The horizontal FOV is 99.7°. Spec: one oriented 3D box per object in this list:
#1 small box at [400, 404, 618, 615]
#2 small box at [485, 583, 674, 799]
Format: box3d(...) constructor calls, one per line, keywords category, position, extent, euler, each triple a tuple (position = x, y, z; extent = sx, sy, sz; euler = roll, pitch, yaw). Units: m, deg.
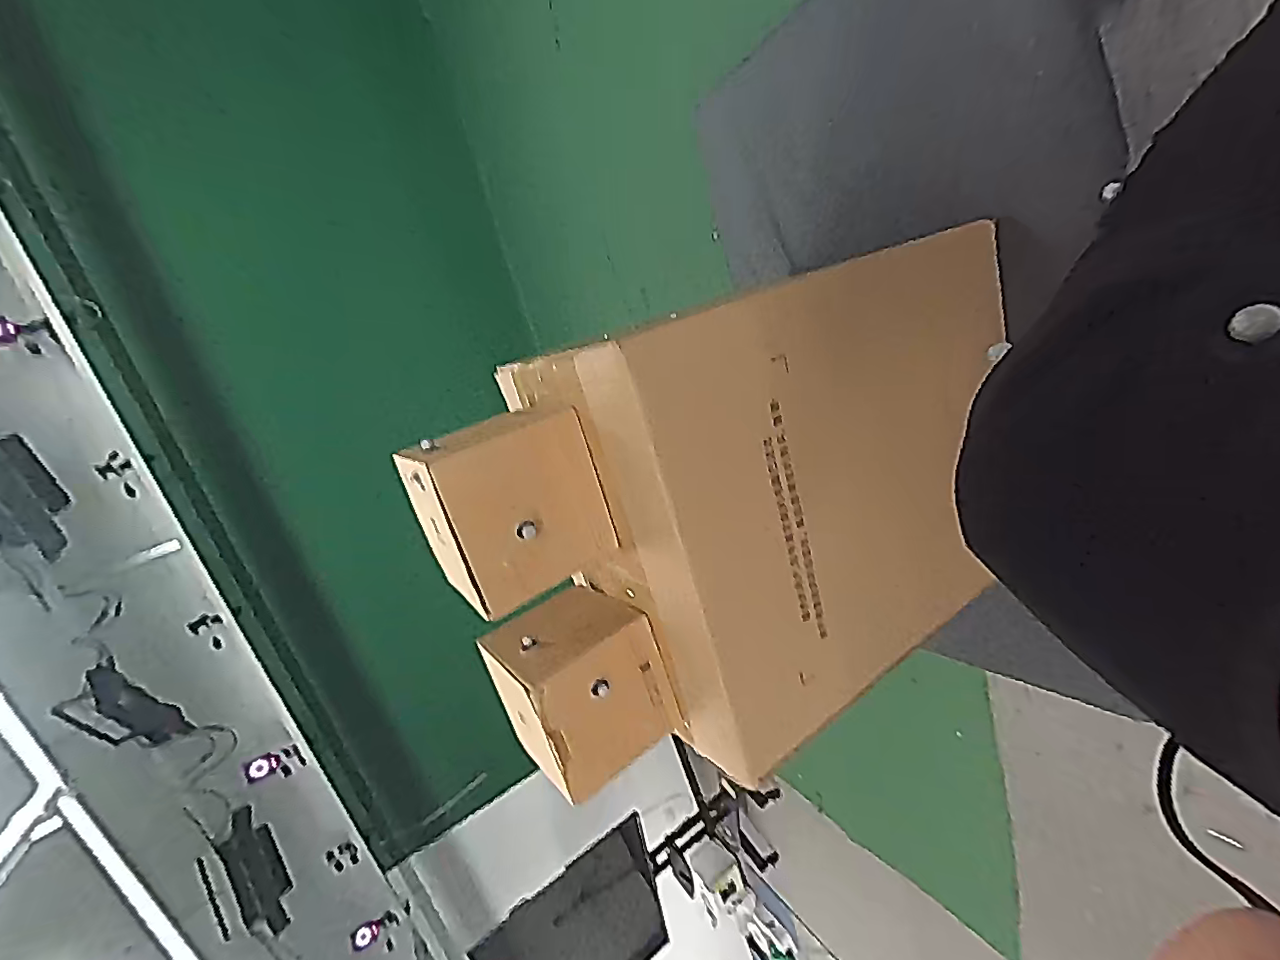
box3d(category="small box", position=(-0.150, 0.022, 0.635), extent=(0.168, 0.176, 0.179), euler=(9, 122, 55))
box3d(category="small box", position=(-0.073, 0.256, 0.706), extent=(0.179, 0.176, 0.168), euler=(8, 119, 57))
